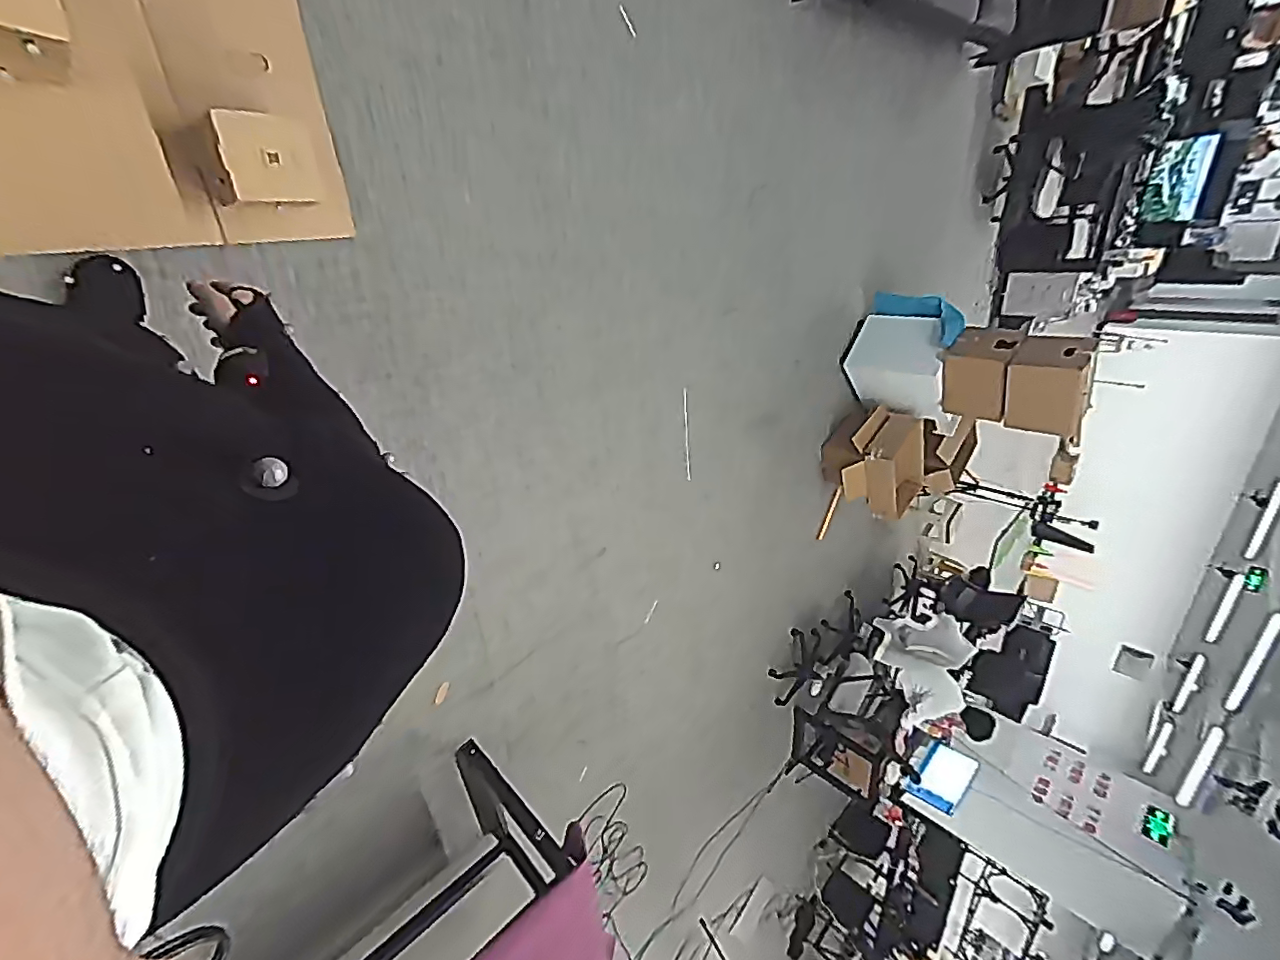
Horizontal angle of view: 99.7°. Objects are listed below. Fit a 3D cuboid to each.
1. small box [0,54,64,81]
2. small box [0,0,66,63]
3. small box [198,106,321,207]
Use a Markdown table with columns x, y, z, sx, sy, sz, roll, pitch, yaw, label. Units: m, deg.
| x | y | z | sx | sy | sz | roll | pitch | yaw | label |
| --- | --- | --- | --- | --- | --- | --- | --- | --- | --- |
| -1.098 | -0.788 | 0.891 | 0.179 | 0.176 | 0.168 | -16 | 116 | -42 | small box |
| -0.980 | -0.739 | 0.784 | 0.179 | 0.176 | 0.168 | -16 | 116 | -41 | small box |
| -0.841 | -0.701 | 1.192 | 0.179 | 0.176 | 0.168 | -23 | 121 | -38 | small box |
